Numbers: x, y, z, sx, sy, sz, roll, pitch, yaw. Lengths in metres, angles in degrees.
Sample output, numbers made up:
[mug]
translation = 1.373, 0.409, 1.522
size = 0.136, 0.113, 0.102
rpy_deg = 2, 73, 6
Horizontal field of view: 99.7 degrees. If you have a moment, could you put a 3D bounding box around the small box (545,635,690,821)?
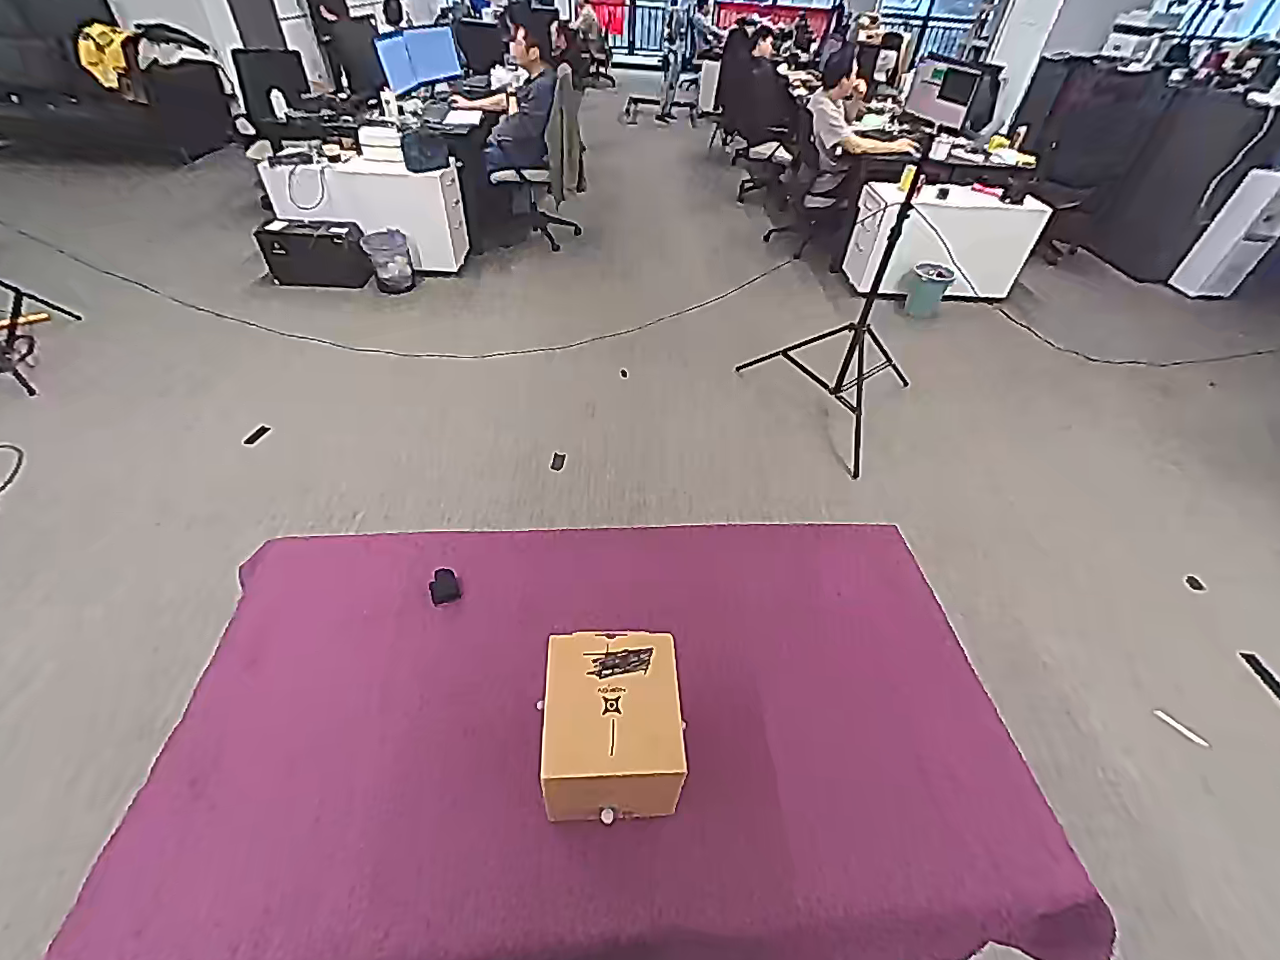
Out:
[small box]
translation = -0.033, 0.326, 0.716
size = 0.168, 0.176, 0.179
rpy_deg = 0, 44, -4
